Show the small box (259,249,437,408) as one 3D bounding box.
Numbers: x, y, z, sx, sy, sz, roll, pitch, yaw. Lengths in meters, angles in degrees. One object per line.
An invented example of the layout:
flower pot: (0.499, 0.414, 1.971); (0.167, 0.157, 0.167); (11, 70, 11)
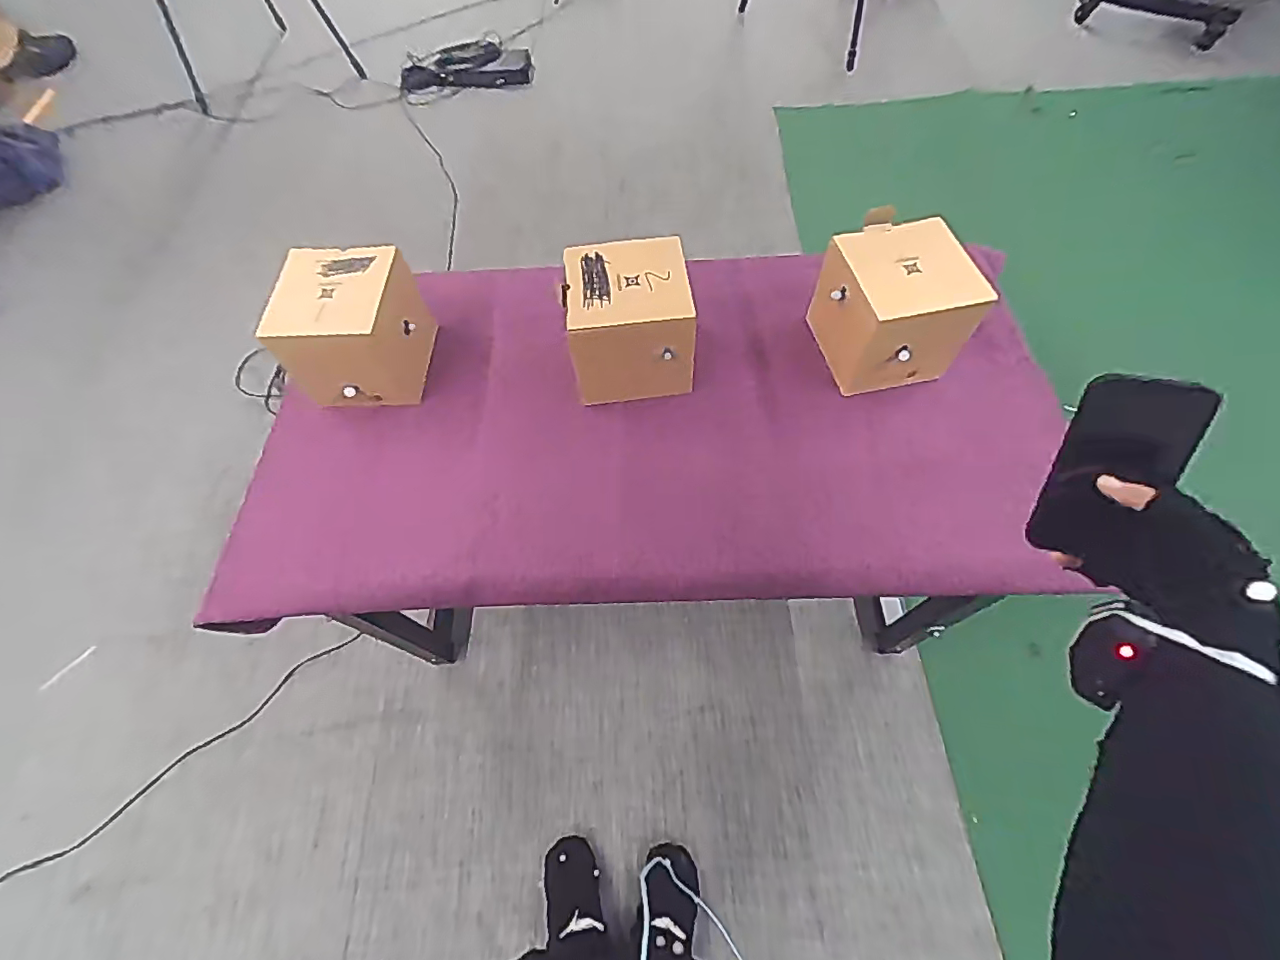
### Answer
small box: (-0.435, -0.233, 0.843); (0.168, 0.176, 0.179); (0, 63, 2)

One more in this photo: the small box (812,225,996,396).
small box: (0.378, -0.244, 0.814); (0.168, 0.176, 0.179); (-11, 61, -2)
